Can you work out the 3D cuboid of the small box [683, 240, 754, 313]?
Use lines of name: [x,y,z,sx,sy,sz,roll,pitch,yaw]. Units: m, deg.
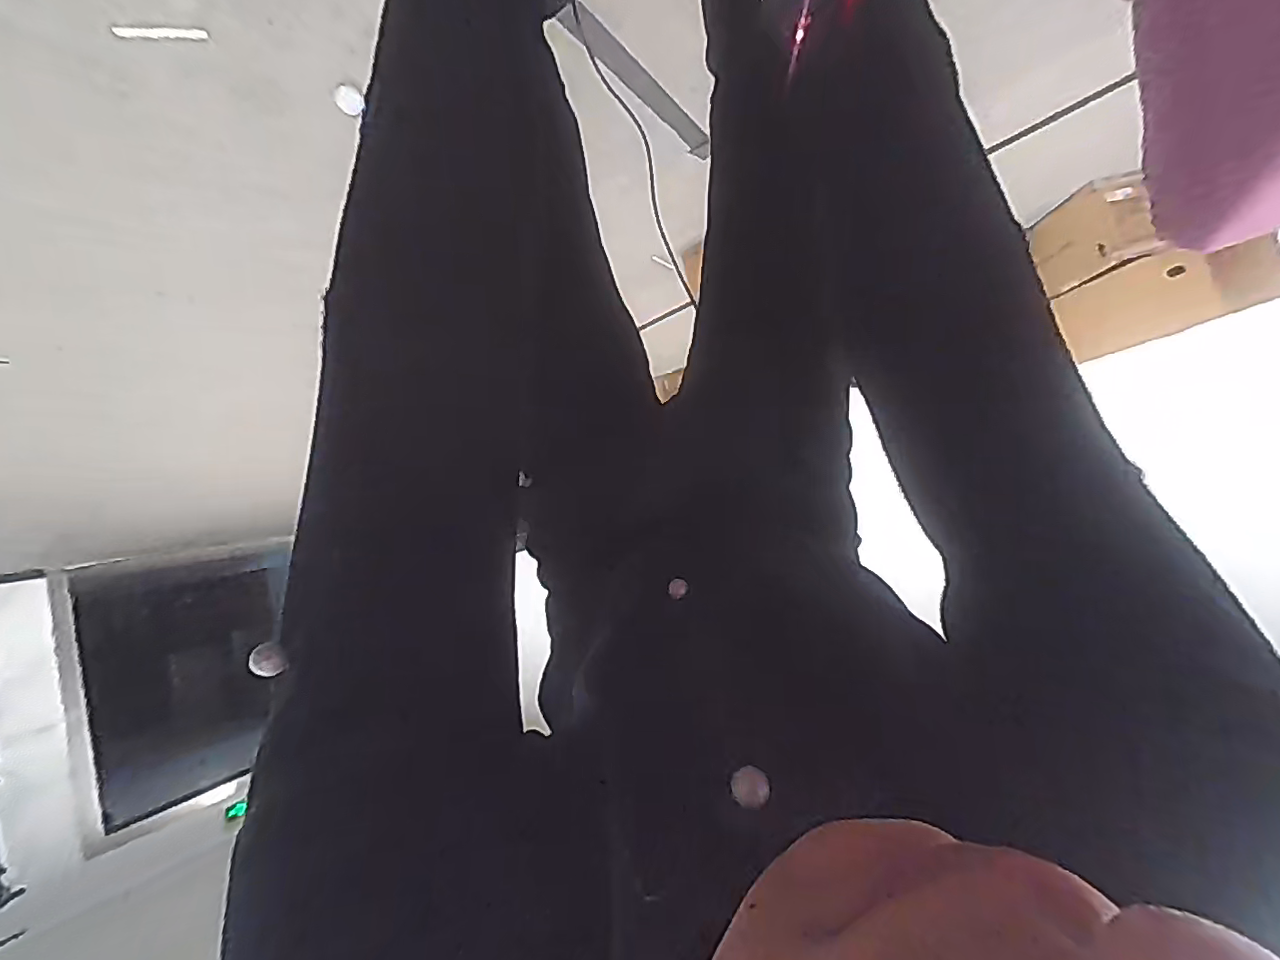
small box: [0.276,-0.712,1.893,0.168,0.176,0.179,-17,173,38]
